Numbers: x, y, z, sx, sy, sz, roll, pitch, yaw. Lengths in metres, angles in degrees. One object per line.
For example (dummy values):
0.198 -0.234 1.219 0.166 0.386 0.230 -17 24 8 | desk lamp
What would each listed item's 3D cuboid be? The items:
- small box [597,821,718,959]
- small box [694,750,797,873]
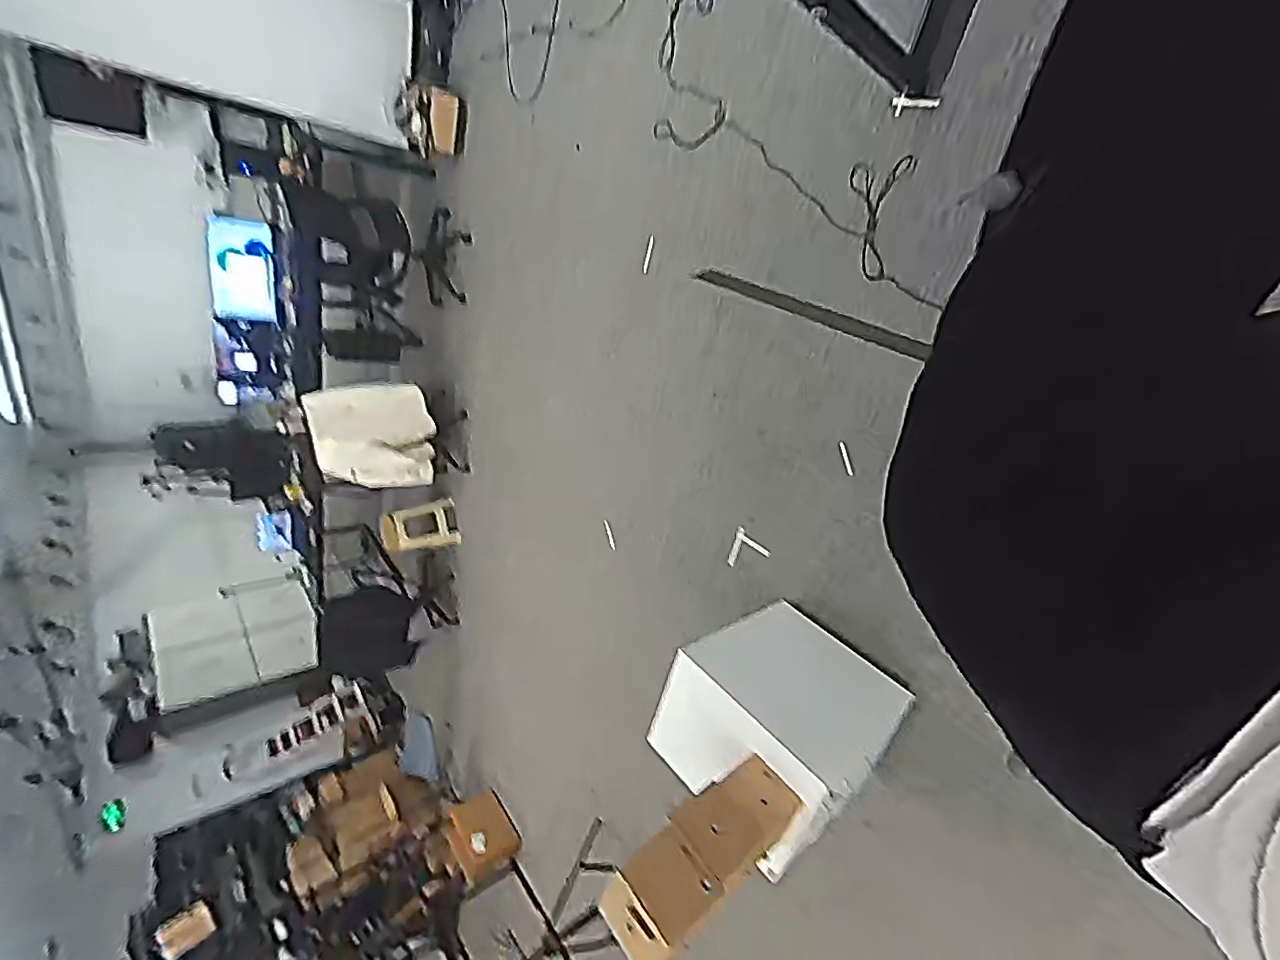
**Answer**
0.039 0.873 1.143 0.168 0.176 0.179 39 125 35 | small box
0.272 0.831 1.372 0.168 0.176 0.179 37 123 37 | small box
